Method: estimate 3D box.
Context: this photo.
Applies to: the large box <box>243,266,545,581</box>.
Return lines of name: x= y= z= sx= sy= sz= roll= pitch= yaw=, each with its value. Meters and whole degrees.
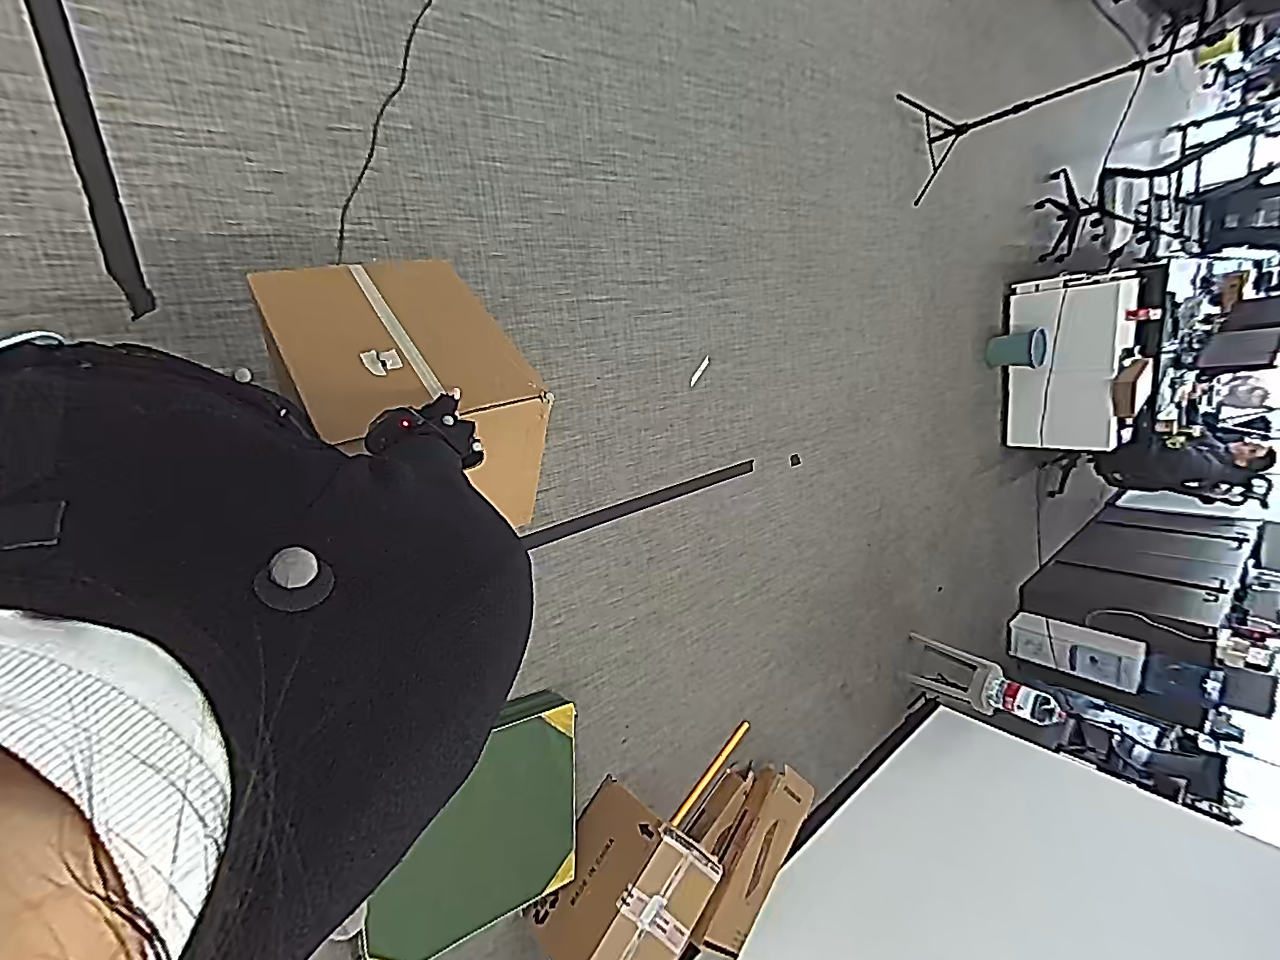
large box: x=-0.410 y=-0.112 z=0.919 sx=0.320 sy=0.408 sz=0.320 roll=-21 pitch=148 yaw=-32
